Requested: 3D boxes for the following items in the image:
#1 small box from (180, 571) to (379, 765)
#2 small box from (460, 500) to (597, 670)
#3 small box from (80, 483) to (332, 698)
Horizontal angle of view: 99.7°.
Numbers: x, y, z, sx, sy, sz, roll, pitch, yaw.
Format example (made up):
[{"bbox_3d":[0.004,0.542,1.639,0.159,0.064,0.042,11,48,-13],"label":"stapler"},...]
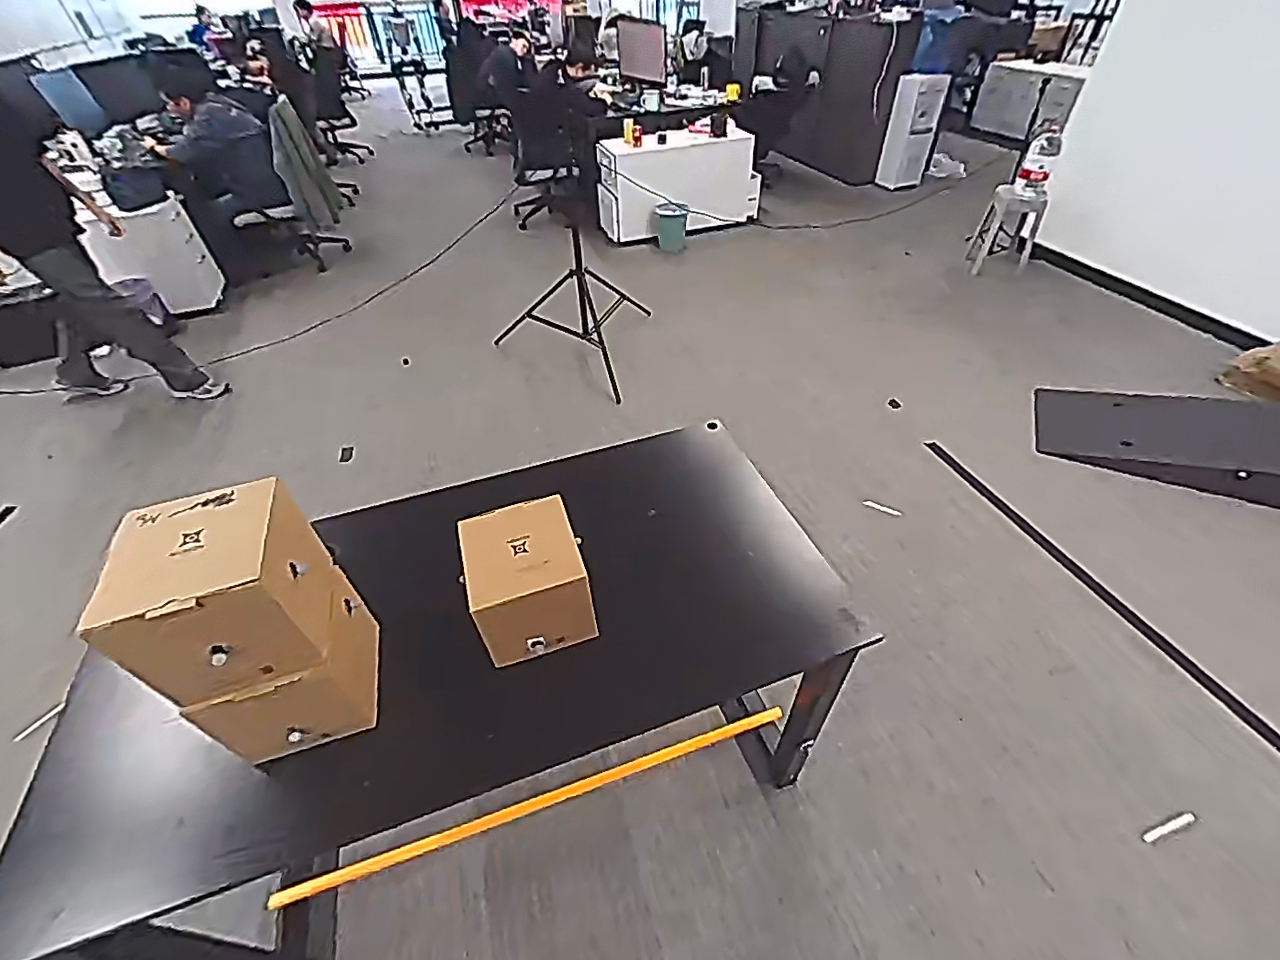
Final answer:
[{"bbox_3d":[-0.483,0.262,0.759,0.168,0.176,0.179,-14,45,-12],"label":"small box"},{"bbox_3d":[-0.173,0.164,0.852,0.168,0.176,0.179,-16,46,-12],"label":"small box"},{"bbox_3d":[-0.493,0.138,0.653,0.168,0.176,0.179,-16,45,-14],"label":"small box"}]
